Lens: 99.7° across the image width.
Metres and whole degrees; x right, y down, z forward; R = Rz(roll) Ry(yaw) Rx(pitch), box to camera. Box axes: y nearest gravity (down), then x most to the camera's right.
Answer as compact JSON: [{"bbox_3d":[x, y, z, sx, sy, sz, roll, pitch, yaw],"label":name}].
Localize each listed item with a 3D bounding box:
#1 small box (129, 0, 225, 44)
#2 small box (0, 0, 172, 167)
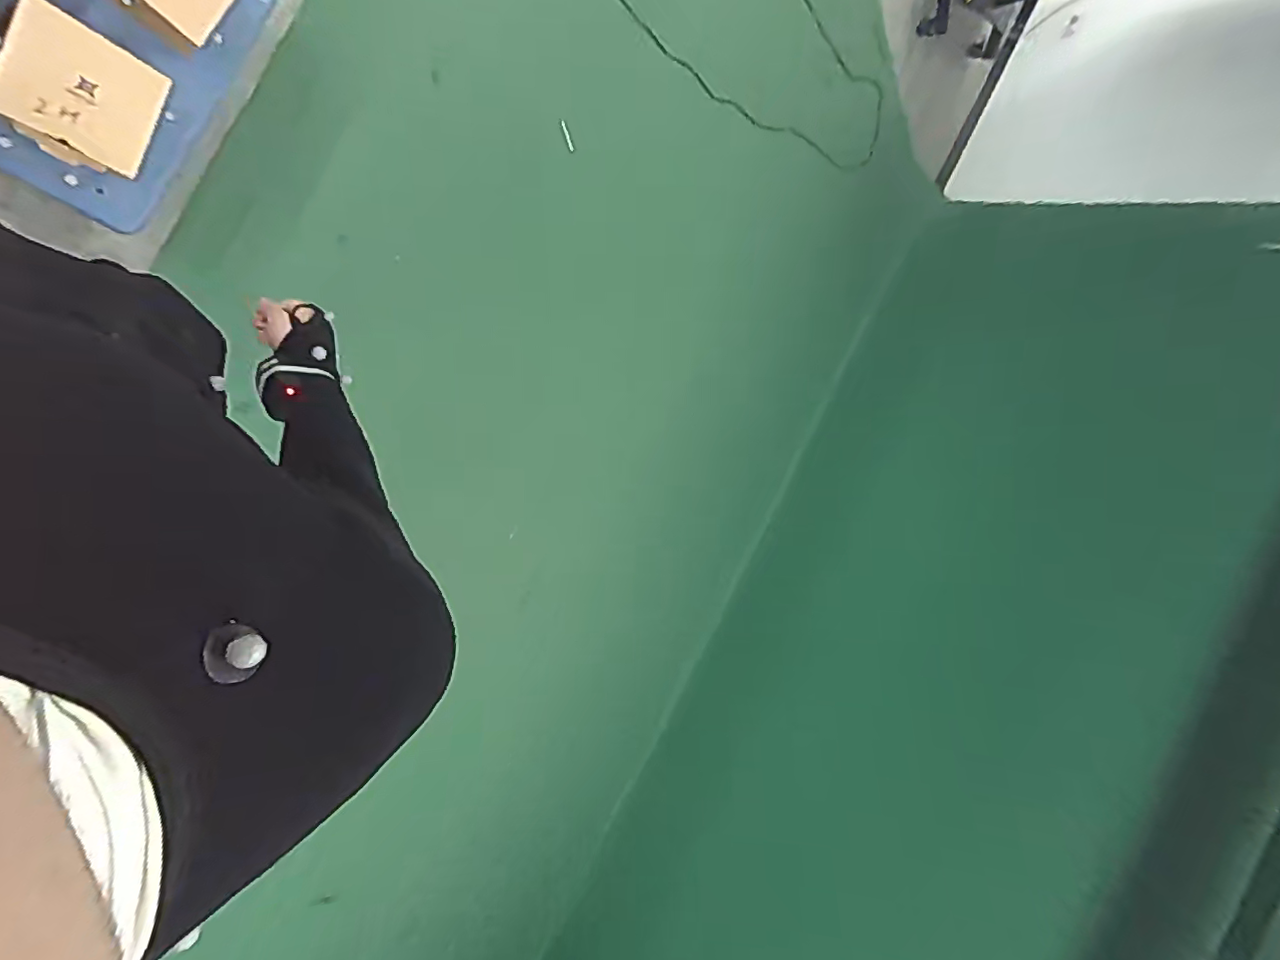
[{"bbox_3d":[-0.775,-0.855,0.870,0.179,0.176,0.168,36,84,-49],"label":"small box"},{"bbox_3d":[-0.892,-0.632,0.859,0.168,0.176,0.179,31,88,-47],"label":"small box"}]
